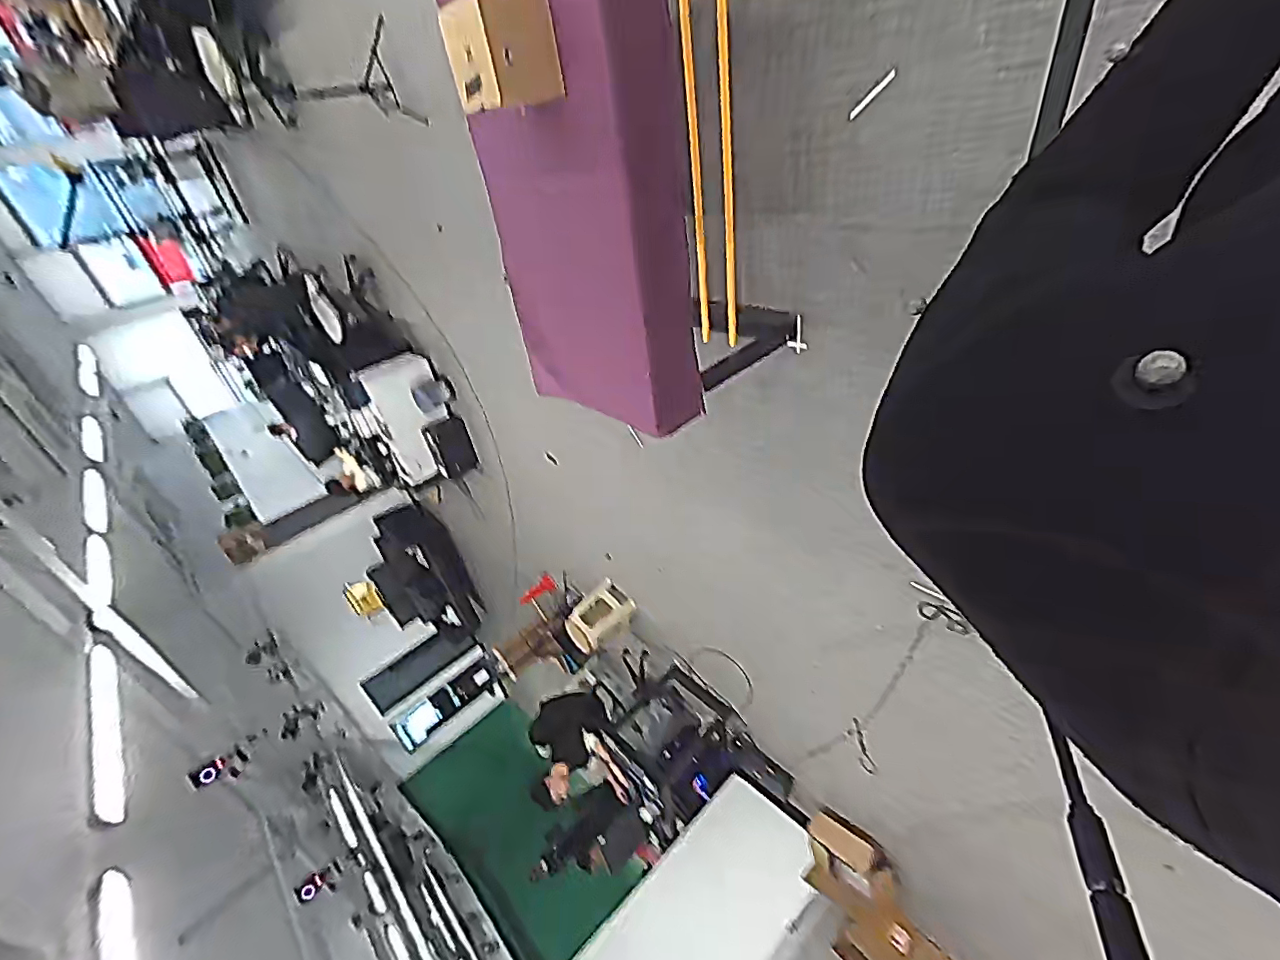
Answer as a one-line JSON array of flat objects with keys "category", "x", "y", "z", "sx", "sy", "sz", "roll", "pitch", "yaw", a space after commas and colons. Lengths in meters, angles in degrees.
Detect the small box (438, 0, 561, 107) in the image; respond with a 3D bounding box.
[{"category": "small box", "x": -0.285, "y": -0.904, "z": 1.129, "sx": 0.168, "sy": 0.176, "sz": 0.179, "roll": 26, "pitch": 138, "yaw": 40}]
